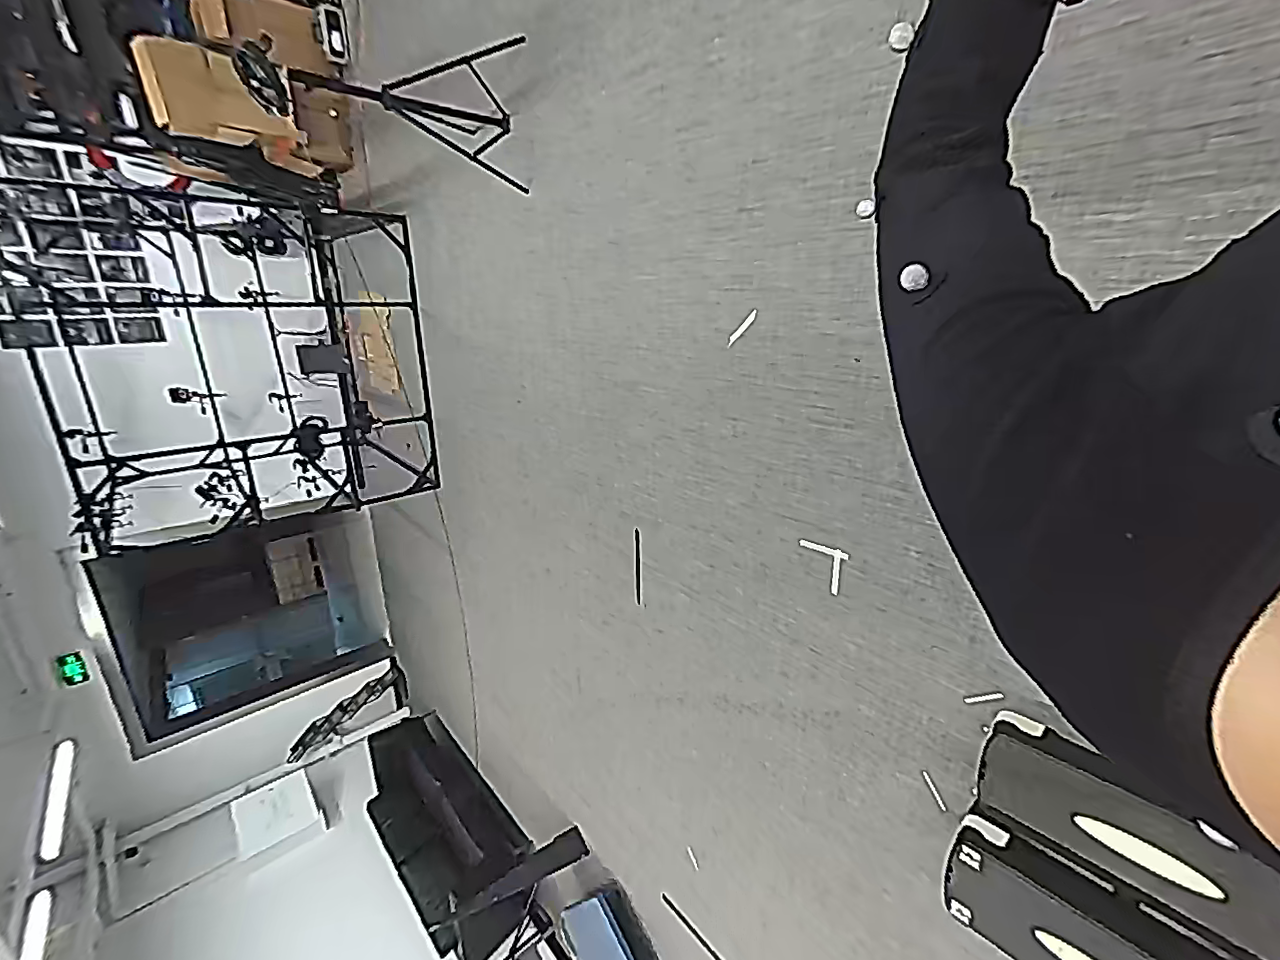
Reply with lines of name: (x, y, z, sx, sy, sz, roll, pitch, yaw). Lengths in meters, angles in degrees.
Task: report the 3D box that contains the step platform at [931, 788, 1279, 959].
step platform: (1.100, 1.101, 1.322, 0.684, 0.204, 0.286, 18, 115, 48)
